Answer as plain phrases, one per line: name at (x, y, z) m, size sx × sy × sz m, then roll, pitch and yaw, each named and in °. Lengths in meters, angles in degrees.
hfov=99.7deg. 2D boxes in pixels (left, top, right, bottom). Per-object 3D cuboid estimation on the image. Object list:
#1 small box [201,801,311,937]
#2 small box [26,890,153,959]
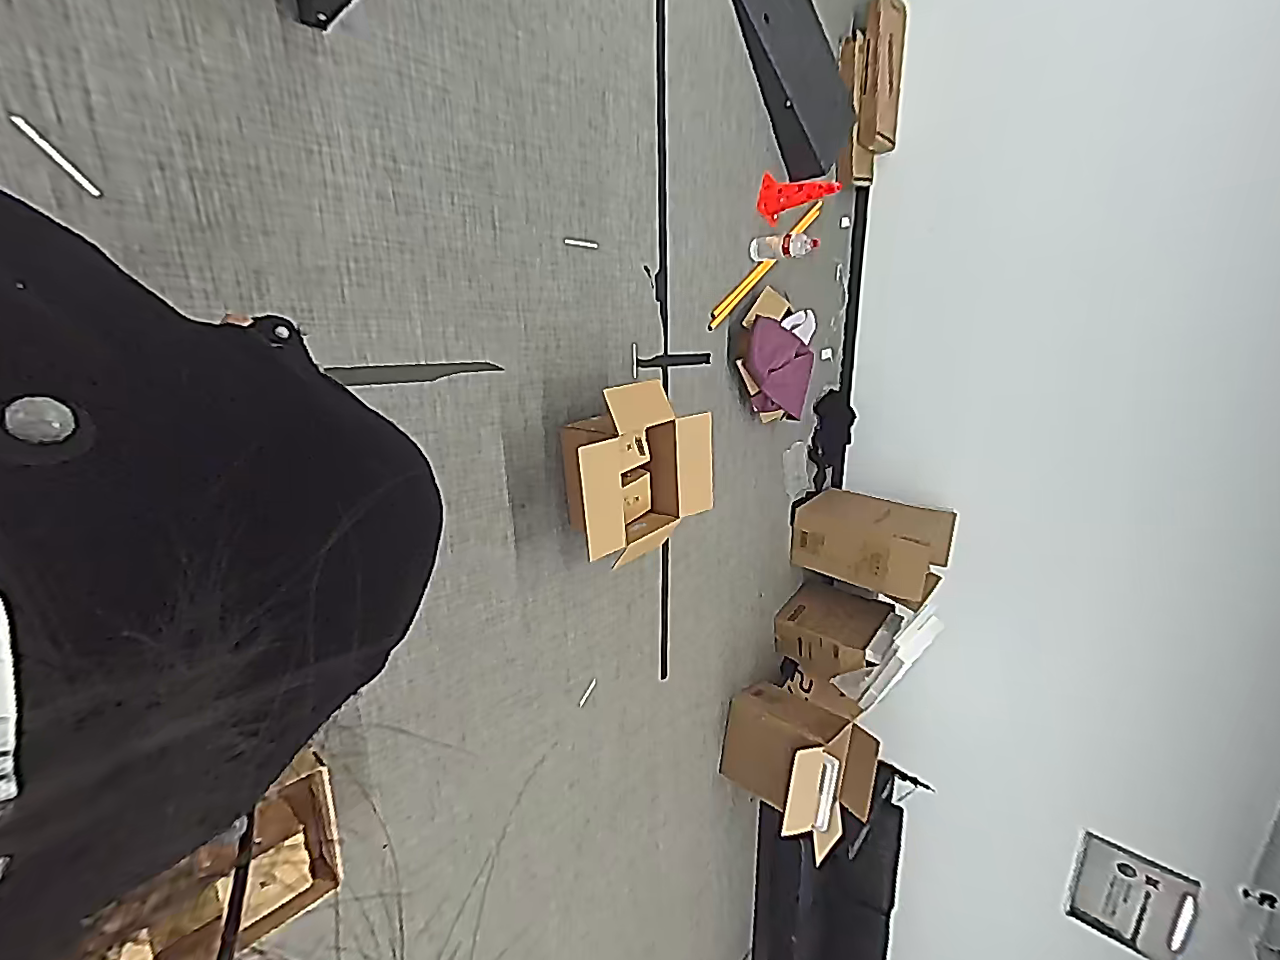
small box at (-0.938, 0.937, 1.324) m, size 0.179 × 0.176 × 0.168 m, roll -14°, pitch 108°, yaw -45°
small box at (-1.133, 1.004, 1.119) m, size 0.168 × 0.176 × 0.179 m, roll -12°, pitch 107°, yaw -48°
